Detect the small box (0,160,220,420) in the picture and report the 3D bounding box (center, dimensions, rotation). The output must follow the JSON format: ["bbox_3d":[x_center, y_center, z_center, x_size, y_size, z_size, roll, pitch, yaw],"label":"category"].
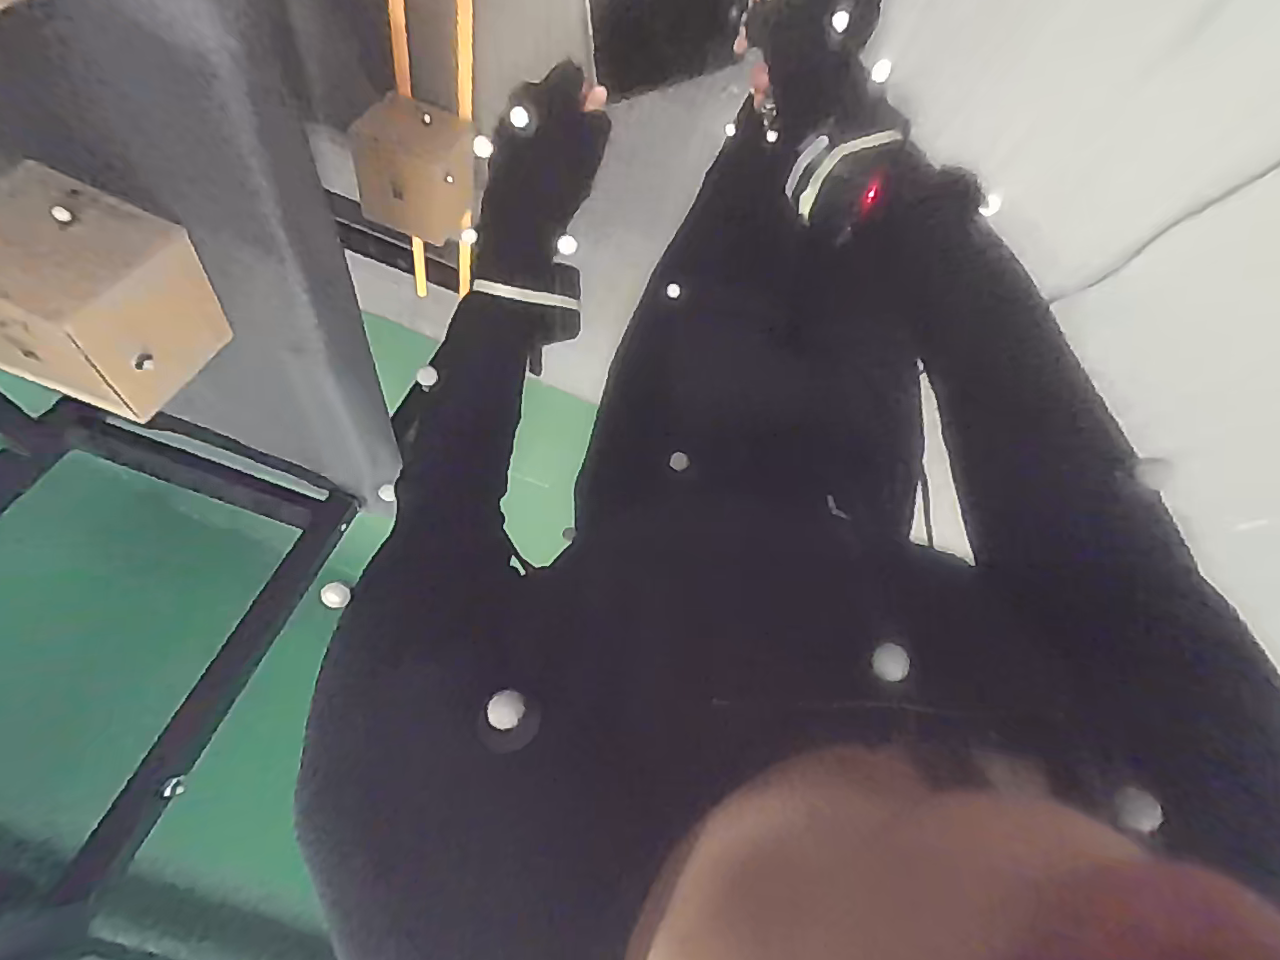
[{"bbox_3d":[-0.621,-0.205,0.602,0.168,0.176,0.179,23,147,-8],"label":"small box"}]
